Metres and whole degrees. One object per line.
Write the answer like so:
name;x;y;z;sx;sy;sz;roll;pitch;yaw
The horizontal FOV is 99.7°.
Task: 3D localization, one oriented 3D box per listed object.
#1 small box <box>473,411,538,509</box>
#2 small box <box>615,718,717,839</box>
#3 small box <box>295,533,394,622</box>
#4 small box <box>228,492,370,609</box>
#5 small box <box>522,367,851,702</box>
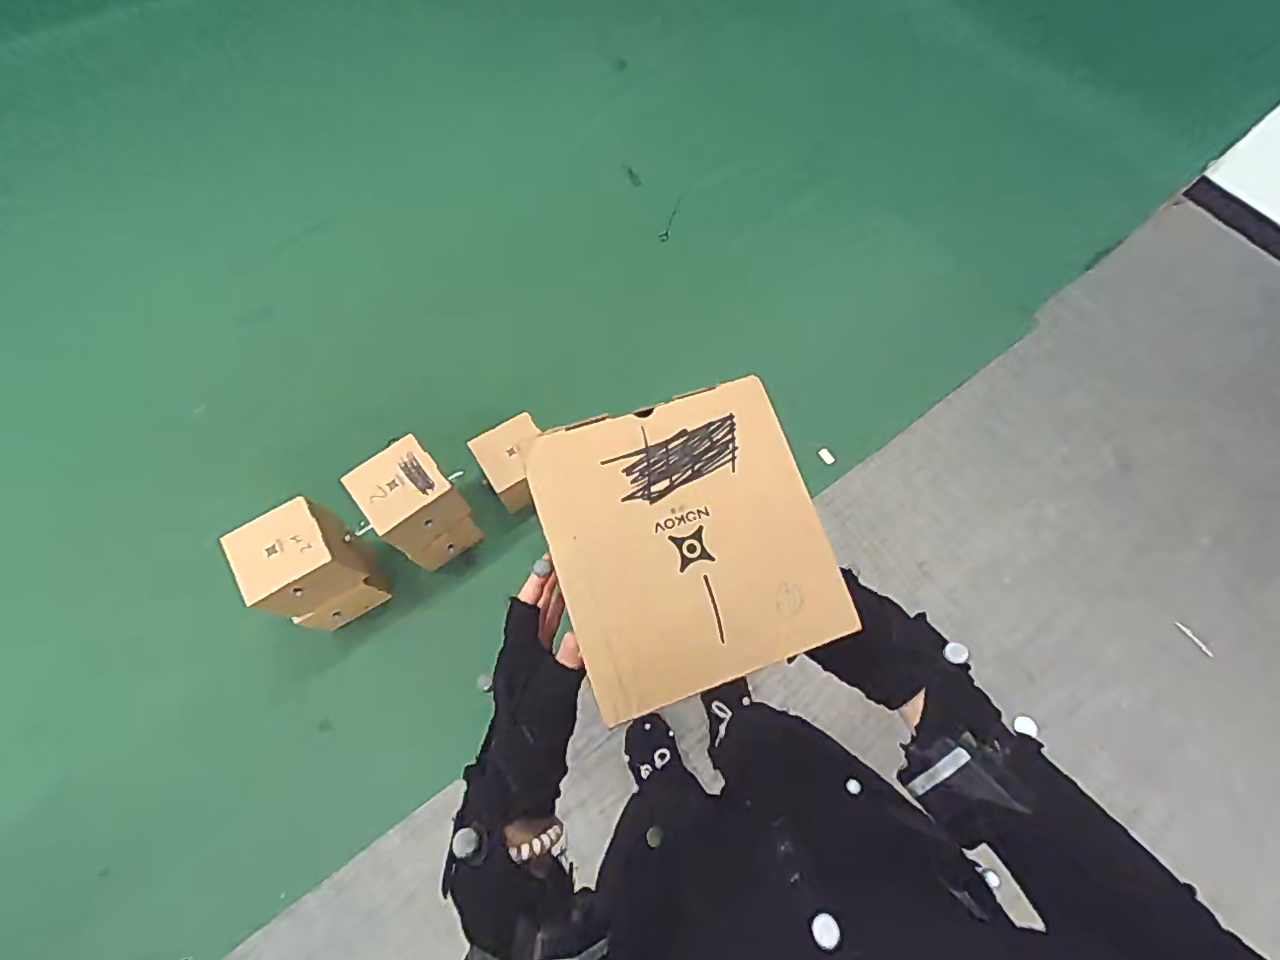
small box;-0.316;-0.049;1.439;0.179;0.176;0.168;-30;72;-13
small box;0.058;0.652;1.201;0.179;0.176;0.168;15;80;20
small box;-0.732;0.231;1.315;0.168;0.176;0.179;-29;72;-12
small box;-0.725;0.159;1.166;0.179;0.176;0.168;-30;72;-12
small box;0.018;0.045;0.409;0.168;0.176;0.179;-17;78;-10
